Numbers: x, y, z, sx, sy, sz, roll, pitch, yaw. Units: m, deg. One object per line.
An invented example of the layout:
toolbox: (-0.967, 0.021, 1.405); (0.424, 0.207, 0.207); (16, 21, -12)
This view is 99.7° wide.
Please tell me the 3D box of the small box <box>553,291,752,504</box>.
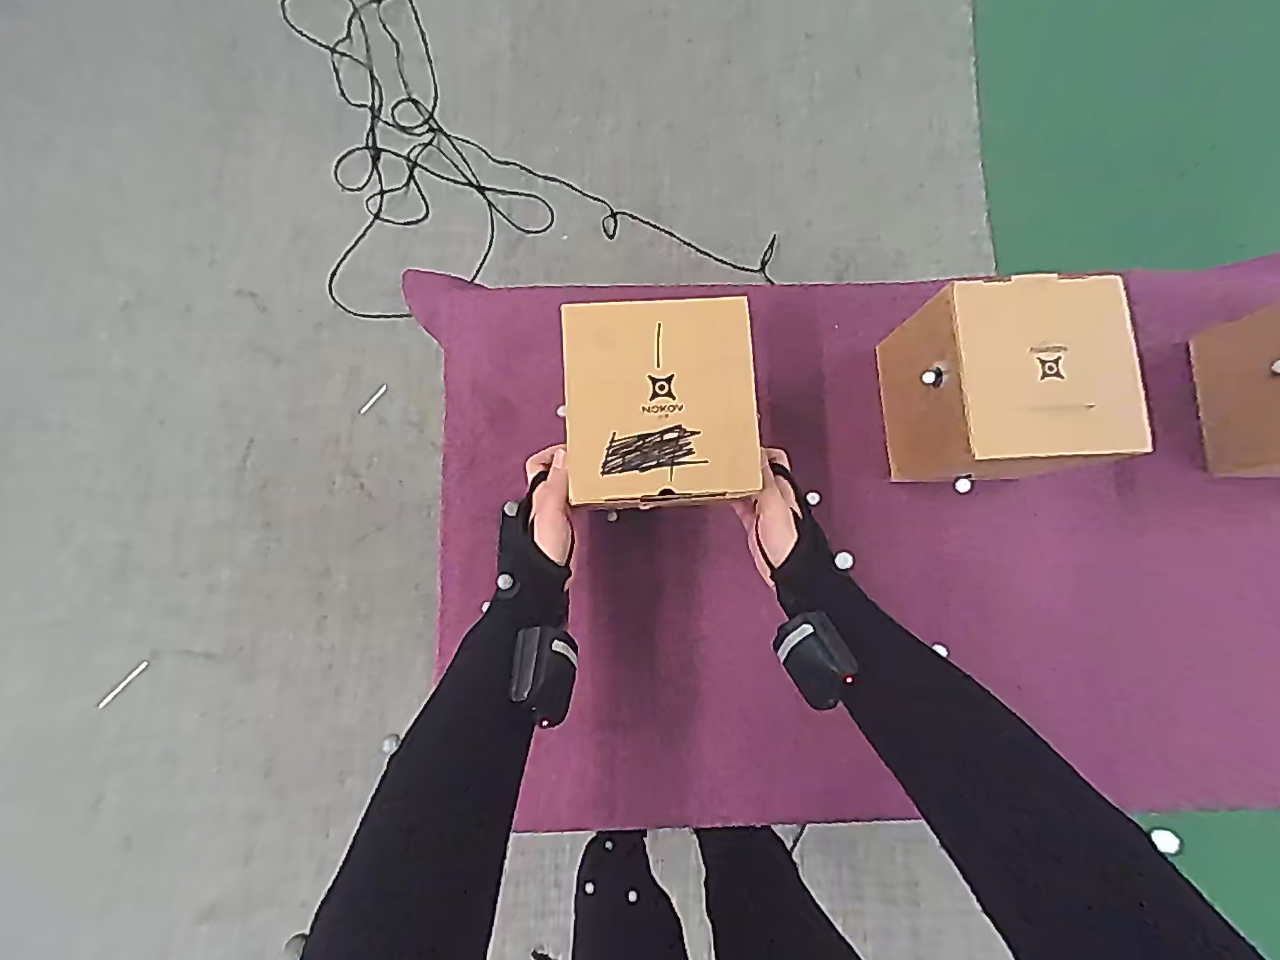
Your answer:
small box: (0.009, -0.067, 0.538); (0.168, 0.176, 0.179); (-3, 84, -2)

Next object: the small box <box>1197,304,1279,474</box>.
small box: (0.760, -0.107, 0.576); (0.168, 0.176, 0.179); (0, 81, 0)

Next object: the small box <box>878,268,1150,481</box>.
small box: (0.371, -0.100, 0.573); (0.168, 0.176, 0.179); (-2, 81, 0)
